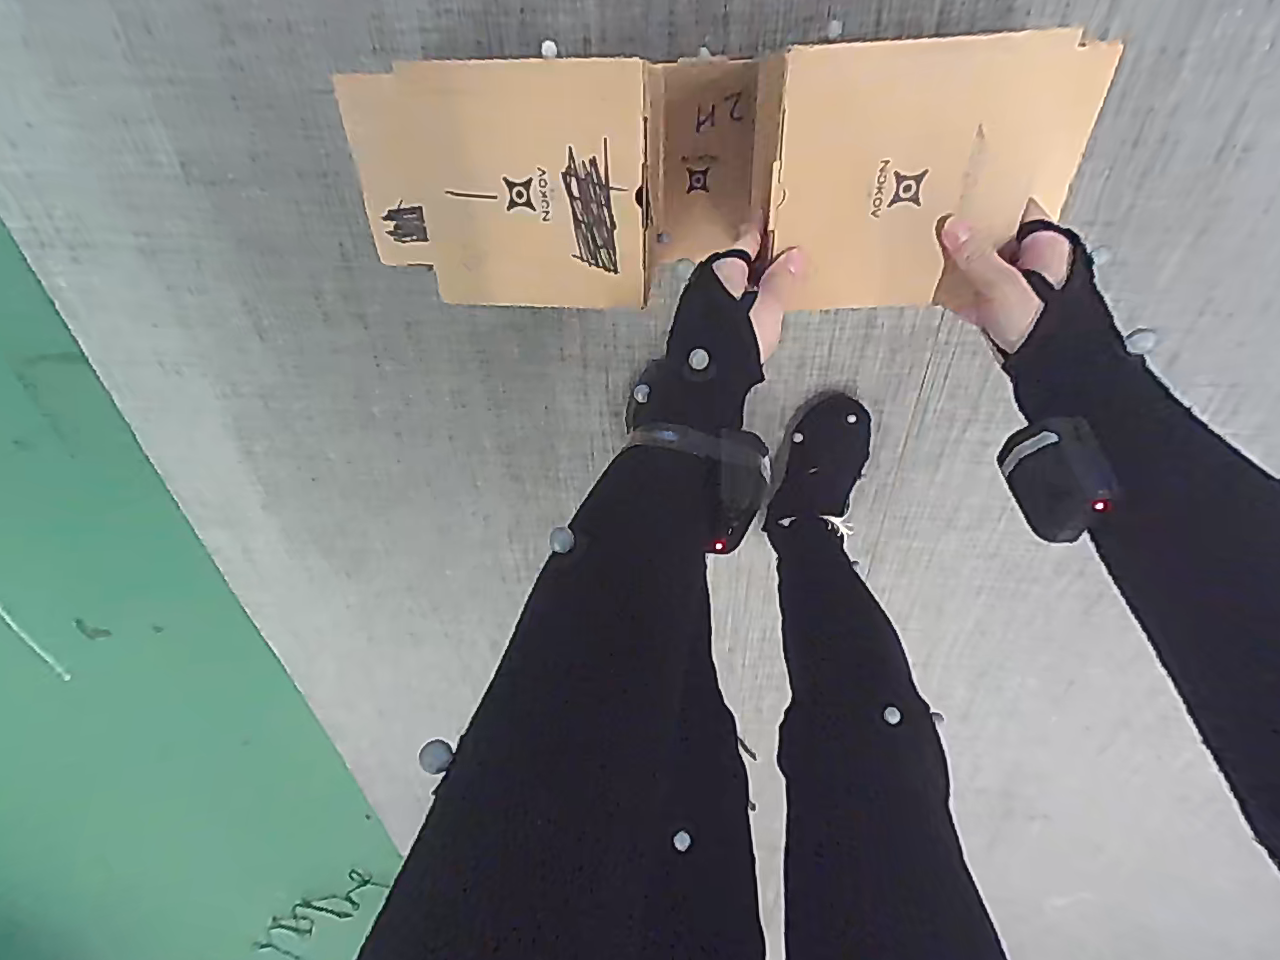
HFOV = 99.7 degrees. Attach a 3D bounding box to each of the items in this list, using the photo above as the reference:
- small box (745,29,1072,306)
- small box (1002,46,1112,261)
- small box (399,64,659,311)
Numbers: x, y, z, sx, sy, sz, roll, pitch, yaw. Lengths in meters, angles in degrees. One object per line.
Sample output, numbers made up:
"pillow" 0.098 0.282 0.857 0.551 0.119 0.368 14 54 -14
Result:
"small box" 0.183 -0.250 0.443 0.179 0.176 0.168 -1 125 4
"small box" 0.331 -0.345 0.579 0.168 0.176 0.179 1 124 5
"small box" -0.074 -0.256 0.475 0.179 0.176 0.168 3 123 4
